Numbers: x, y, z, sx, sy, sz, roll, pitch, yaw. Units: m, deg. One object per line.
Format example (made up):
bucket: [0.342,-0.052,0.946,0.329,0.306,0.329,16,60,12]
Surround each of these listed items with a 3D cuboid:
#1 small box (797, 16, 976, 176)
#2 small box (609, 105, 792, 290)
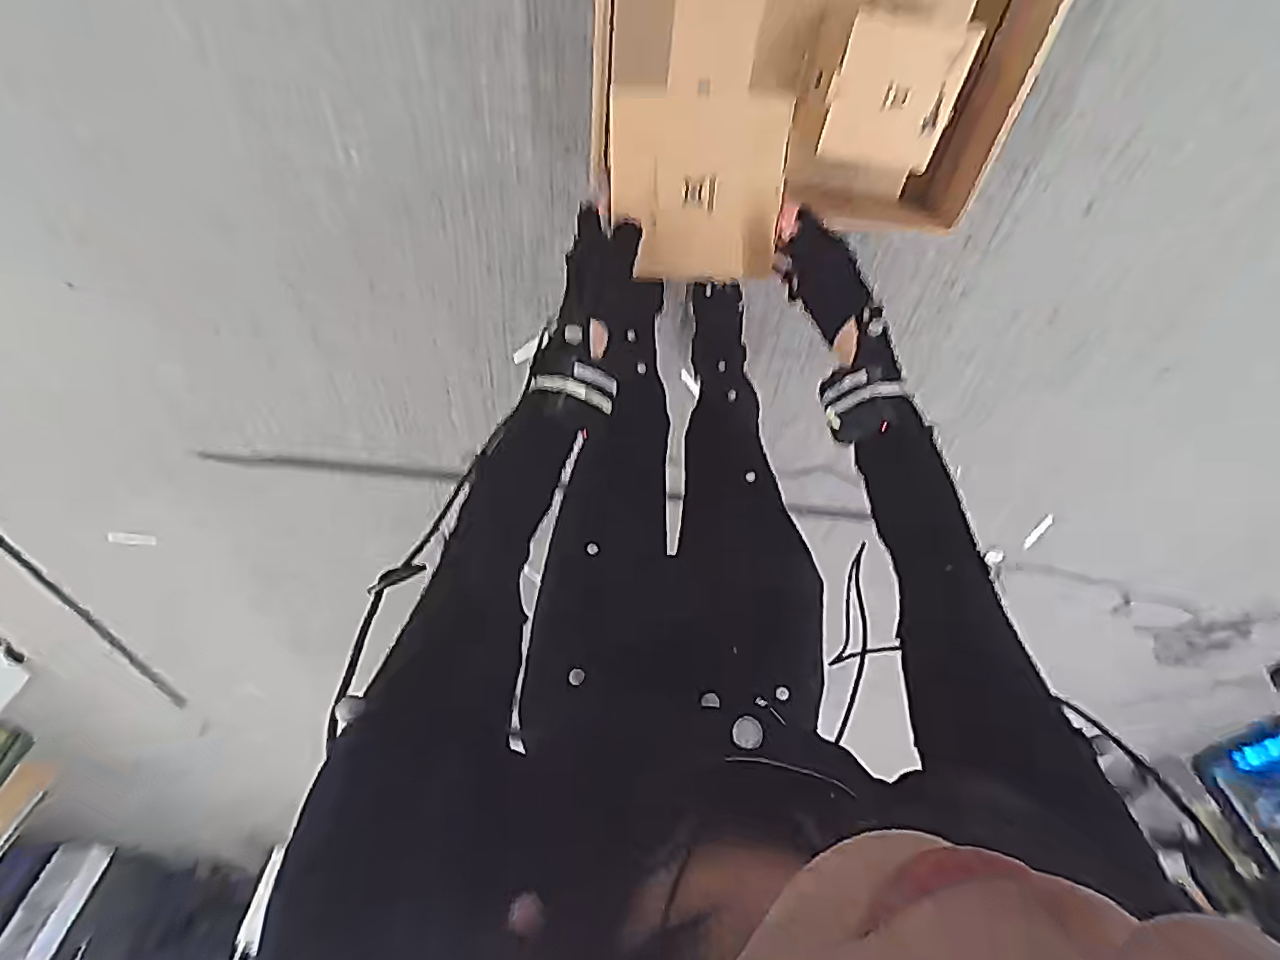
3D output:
small box: [0.354,-0.587,0.823,0.179,0.176,0.168,6,134,-3]
small box: [0.054,-0.314,0.613,0.179,0.176,0.168,0,117,-1]
